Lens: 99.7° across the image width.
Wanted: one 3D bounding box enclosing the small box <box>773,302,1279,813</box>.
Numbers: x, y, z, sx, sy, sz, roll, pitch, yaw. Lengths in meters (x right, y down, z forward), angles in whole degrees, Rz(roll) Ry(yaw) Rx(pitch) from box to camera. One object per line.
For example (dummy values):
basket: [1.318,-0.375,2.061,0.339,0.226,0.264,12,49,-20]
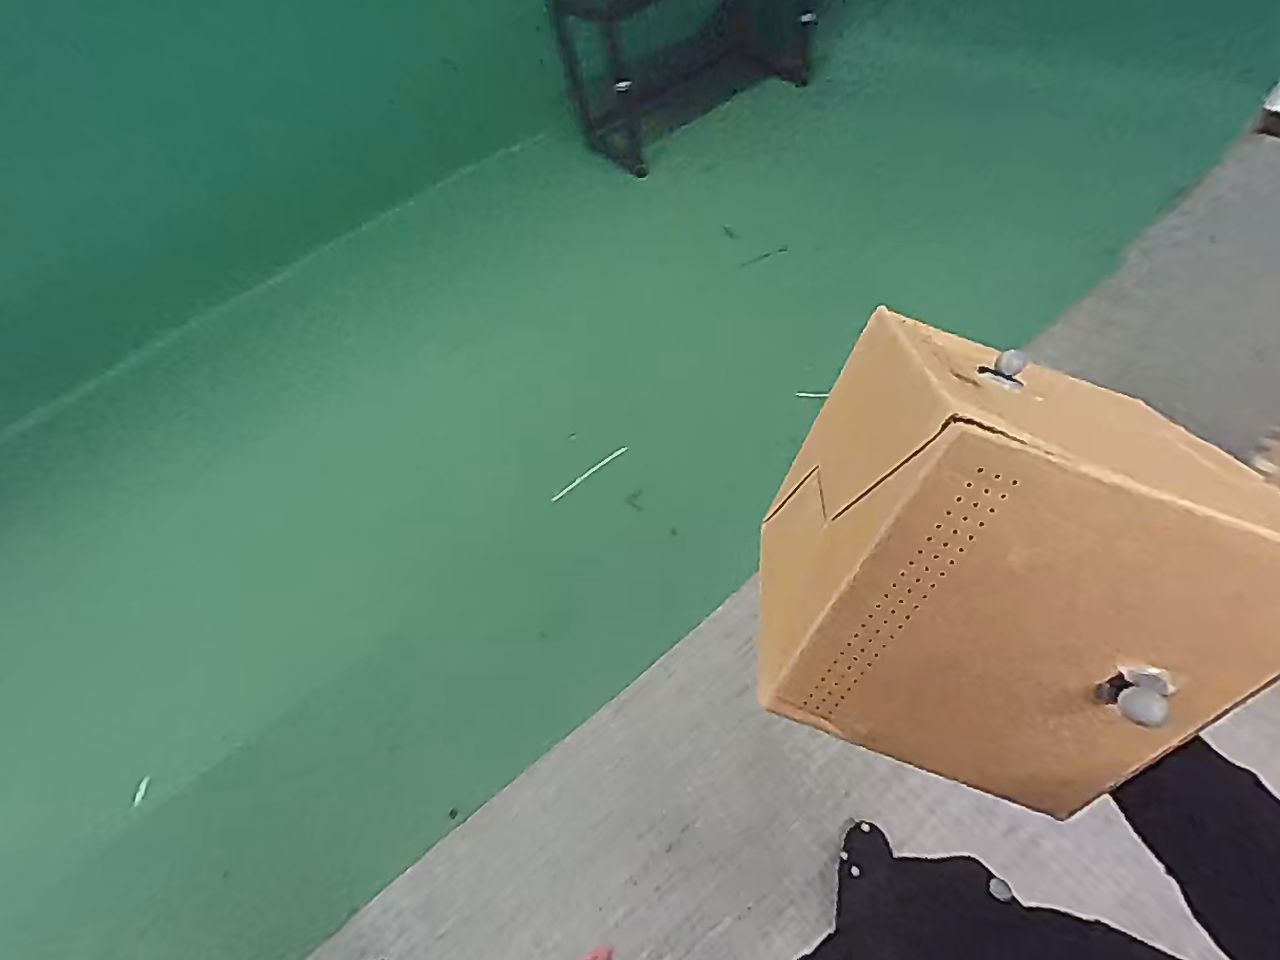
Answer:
small box: [0.180,0.029,0.291,0.176,0.179,0.168,21,32,3]
